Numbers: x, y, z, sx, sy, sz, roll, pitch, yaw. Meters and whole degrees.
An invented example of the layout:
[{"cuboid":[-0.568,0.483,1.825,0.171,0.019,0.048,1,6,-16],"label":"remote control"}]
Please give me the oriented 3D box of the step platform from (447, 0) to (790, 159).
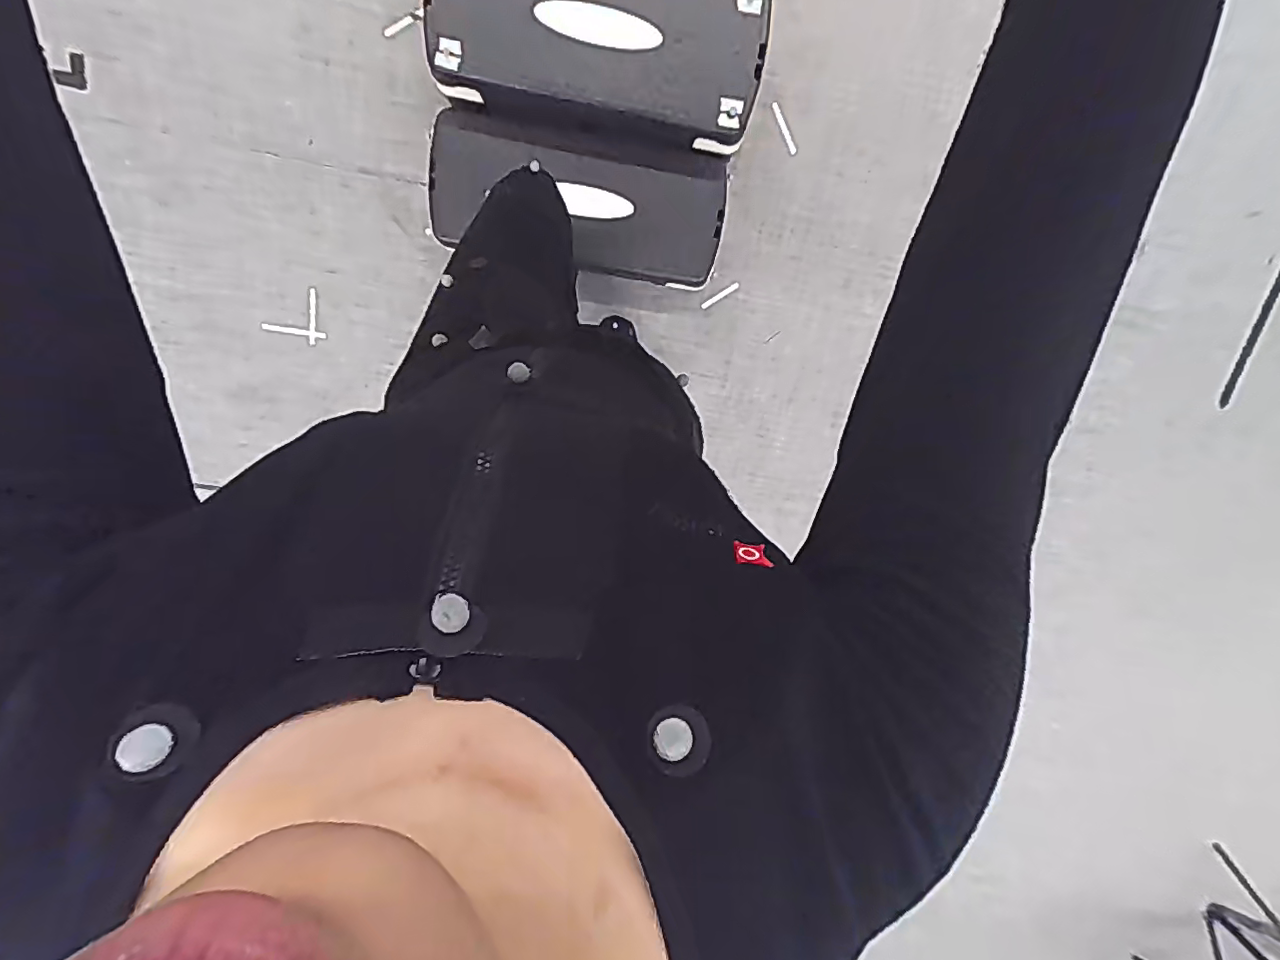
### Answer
[{"cuboid":[-0.044,-0.910,1.136,0.684,0.204,0.286,8,107,-6],"label":"step platform"}]
